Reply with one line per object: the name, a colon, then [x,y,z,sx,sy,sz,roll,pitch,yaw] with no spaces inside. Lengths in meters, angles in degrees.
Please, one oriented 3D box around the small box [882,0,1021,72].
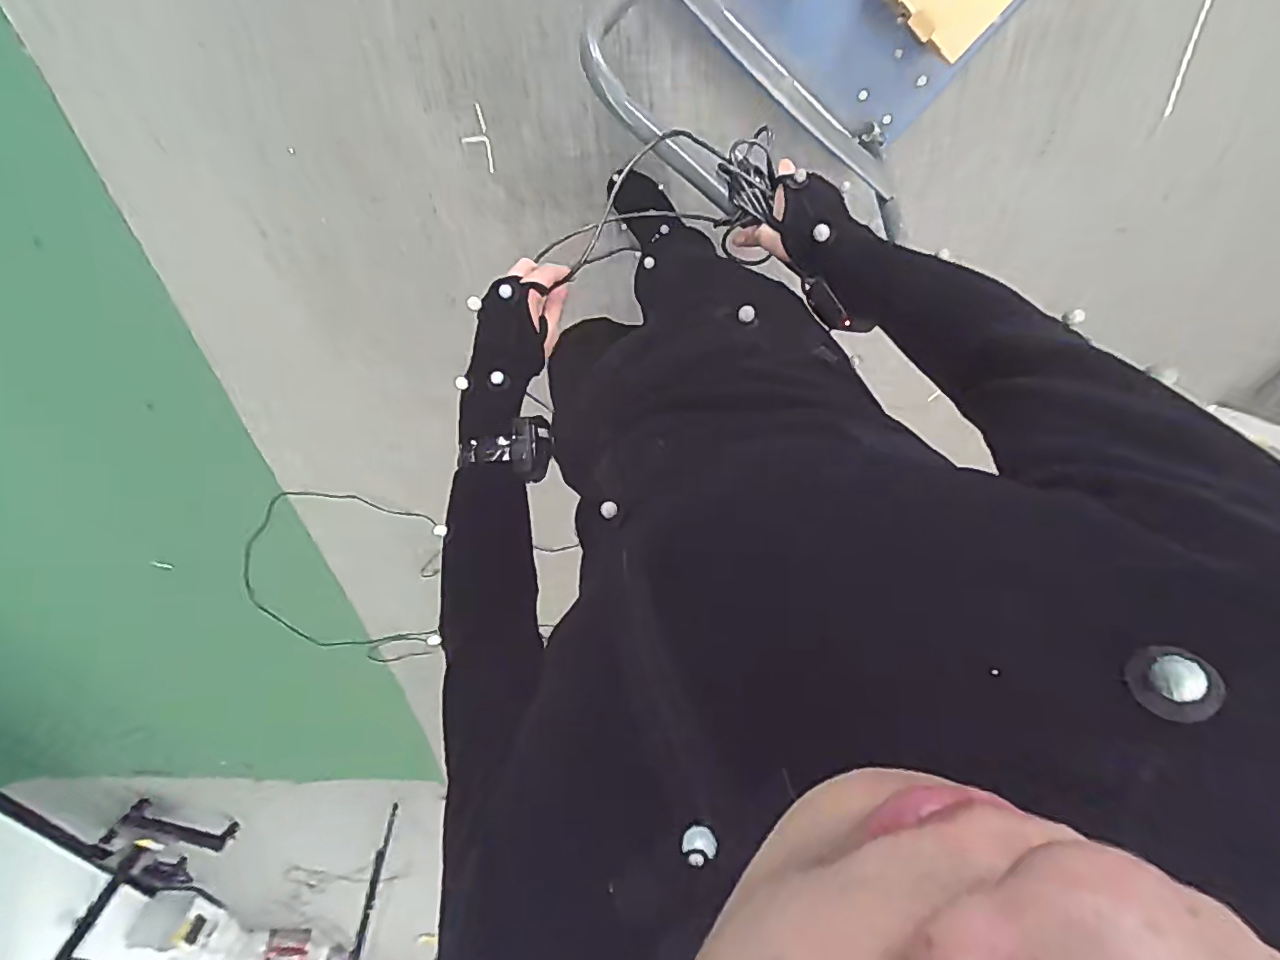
small box: [0.511,-0.814,0.868,0.168,0.176,0.179,33,133,-19]
